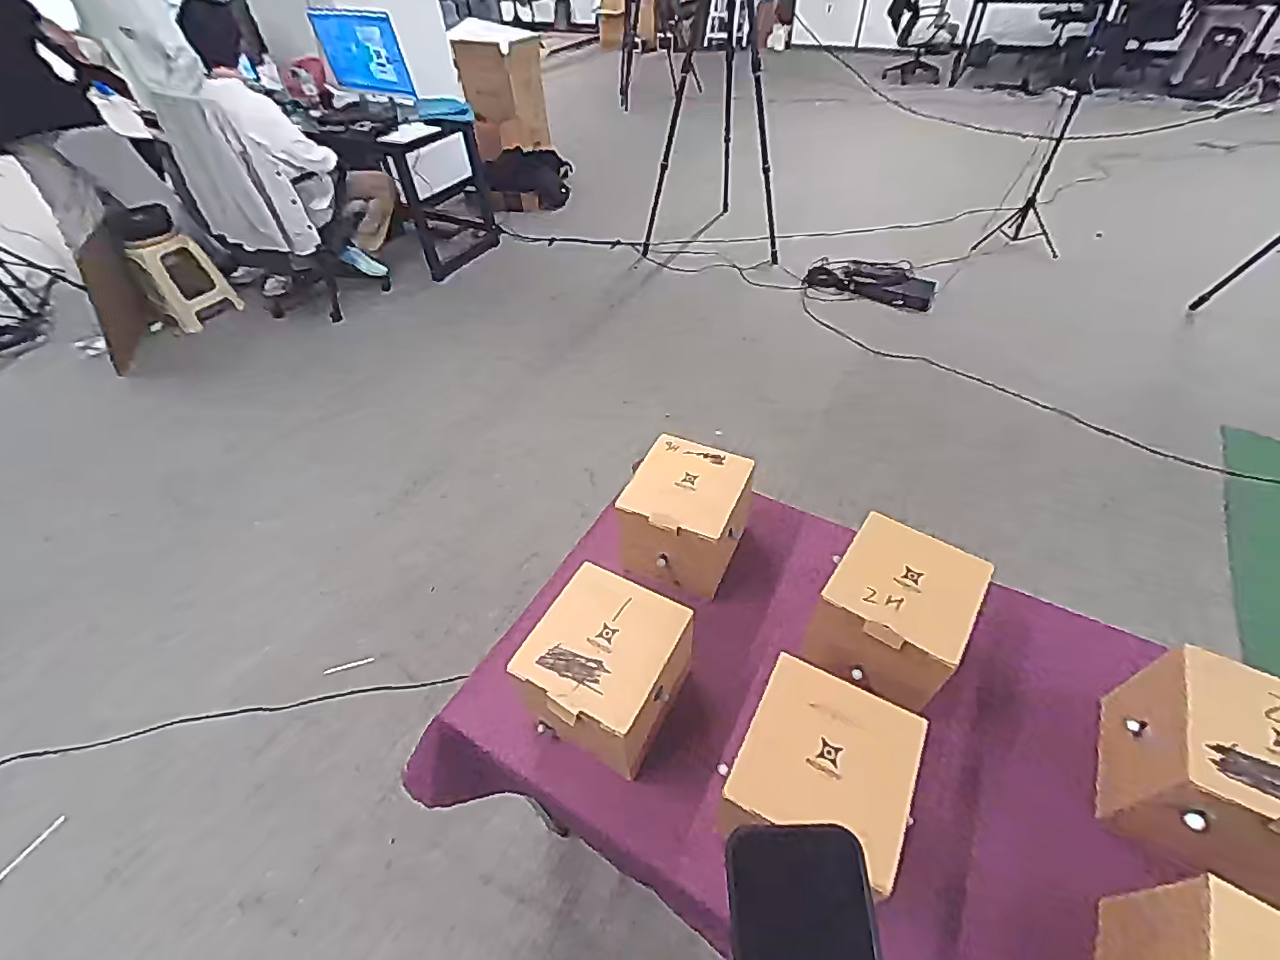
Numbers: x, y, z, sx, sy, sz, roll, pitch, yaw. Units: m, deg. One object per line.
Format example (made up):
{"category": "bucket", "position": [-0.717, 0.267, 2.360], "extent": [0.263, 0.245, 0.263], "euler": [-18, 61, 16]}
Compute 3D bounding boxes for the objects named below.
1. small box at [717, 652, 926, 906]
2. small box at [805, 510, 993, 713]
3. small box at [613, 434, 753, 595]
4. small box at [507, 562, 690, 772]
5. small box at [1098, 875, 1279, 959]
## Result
{"category": "small box", "position": [0.196, 0.339, 0.614], "extent": [0.168, 0.176, 0.179], "euler": [22, 51, 22]}
{"category": "small box", "position": [0.346, 0.182, 0.750], "extent": [0.168, 0.176, 0.179], "euler": [27, 55, 27]}
{"category": "small box", "position": [0.075, 0.059, 0.883], "extent": [0.168, 0.176, 0.179], "euler": [19, 52, 19]}
{"category": "small box", "position": [-0.043, 0.248, 0.714], "extent": [0.168, 0.176, 0.179], "euler": [21, 50, 21]}
{"category": "small box", "position": [0.520, 0.485, 0.454], "extent": [0.168, 0.176, 0.179], "euler": [26, 54, 25]}
